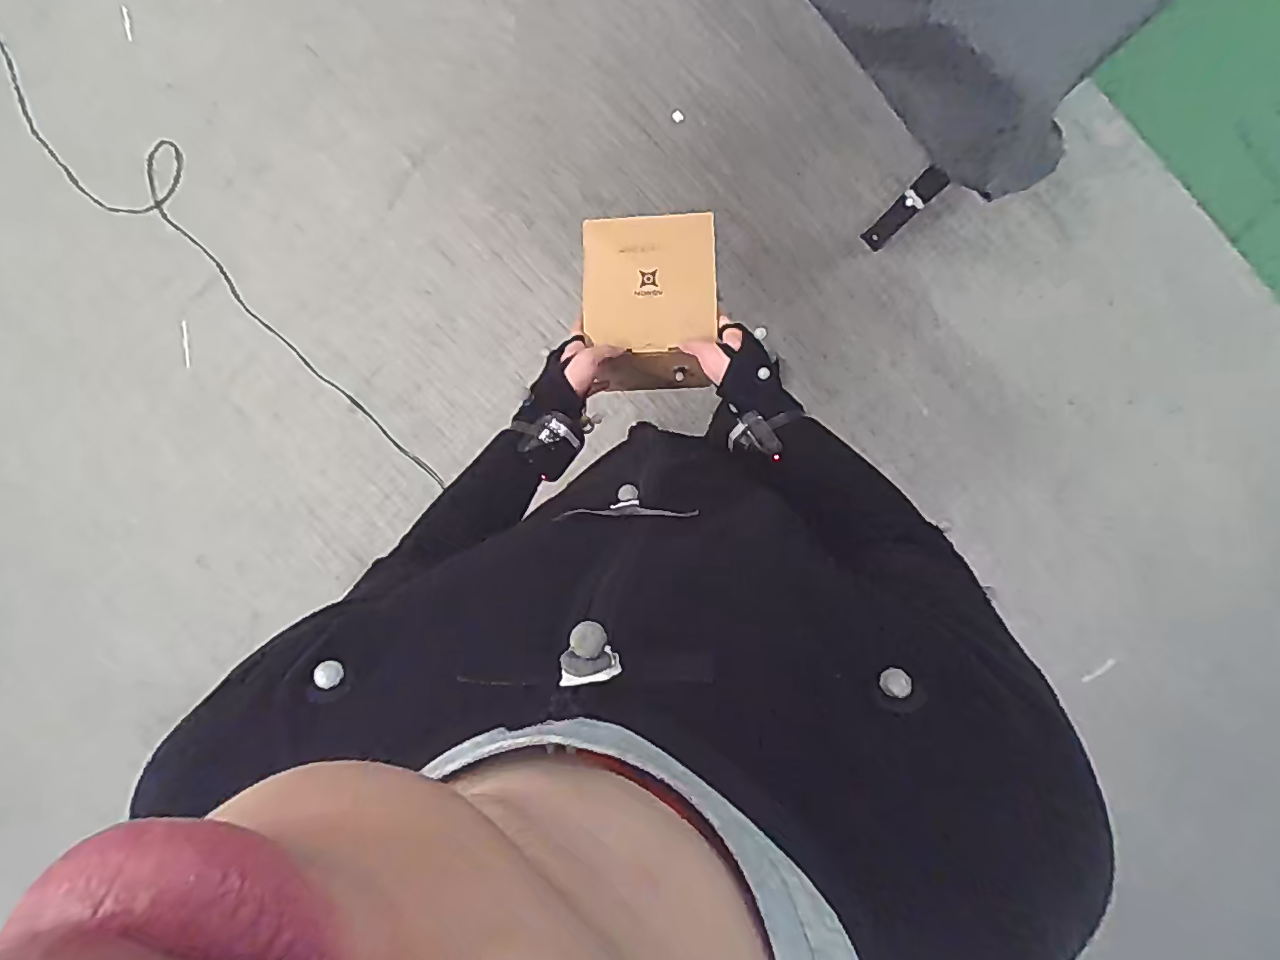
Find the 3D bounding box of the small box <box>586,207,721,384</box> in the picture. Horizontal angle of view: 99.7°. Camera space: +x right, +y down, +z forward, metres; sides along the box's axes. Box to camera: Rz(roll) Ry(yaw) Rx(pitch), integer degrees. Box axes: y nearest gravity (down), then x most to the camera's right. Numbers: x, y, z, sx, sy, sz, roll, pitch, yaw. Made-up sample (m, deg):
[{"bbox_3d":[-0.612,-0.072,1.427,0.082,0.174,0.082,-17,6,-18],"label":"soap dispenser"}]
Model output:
[{"bbox_3d":[0.022,-0.238,0.743,0.168,0.176,0.179,-3,81,4],"label":"small box"}]
